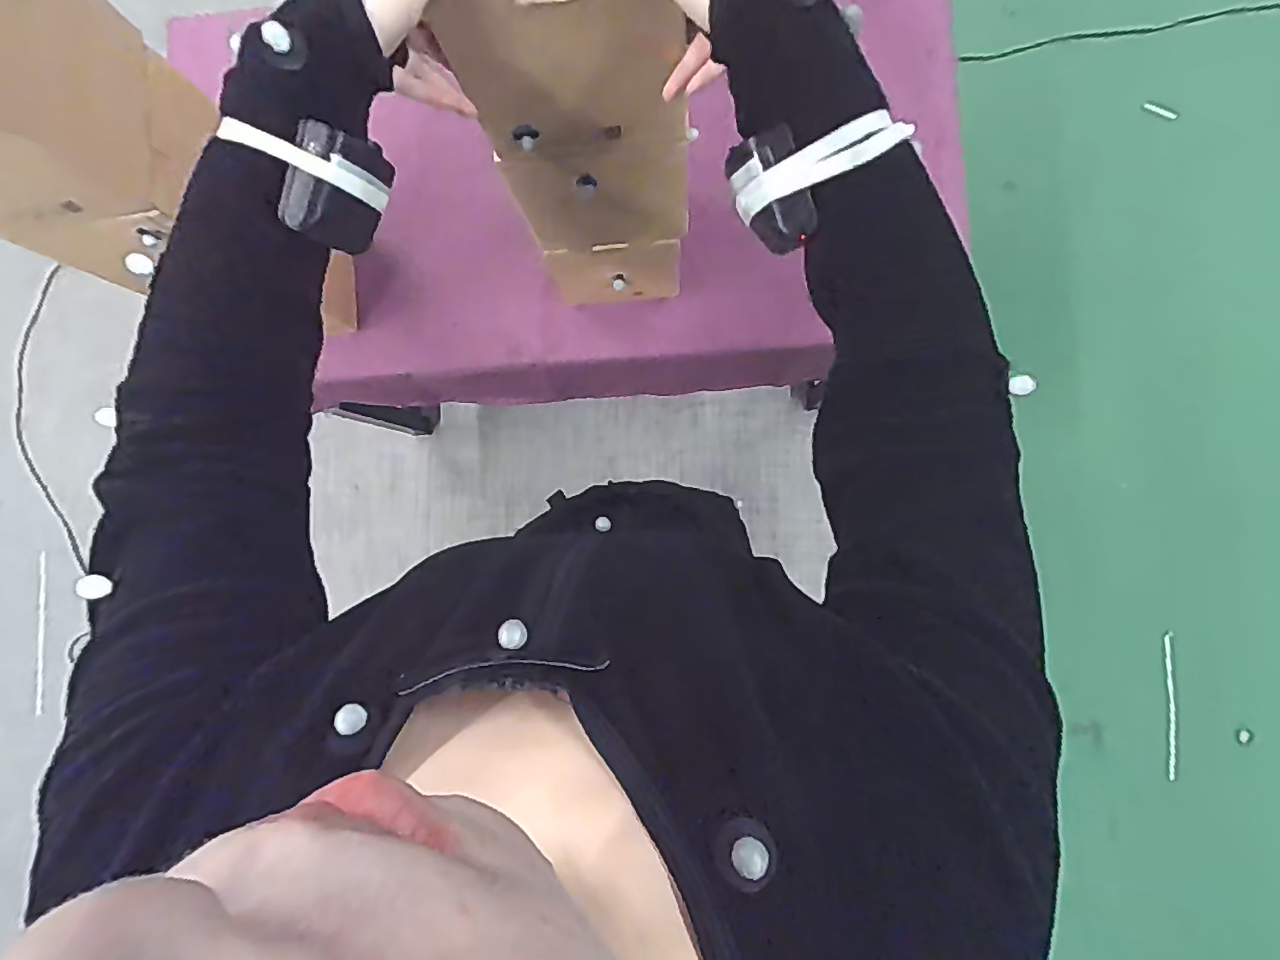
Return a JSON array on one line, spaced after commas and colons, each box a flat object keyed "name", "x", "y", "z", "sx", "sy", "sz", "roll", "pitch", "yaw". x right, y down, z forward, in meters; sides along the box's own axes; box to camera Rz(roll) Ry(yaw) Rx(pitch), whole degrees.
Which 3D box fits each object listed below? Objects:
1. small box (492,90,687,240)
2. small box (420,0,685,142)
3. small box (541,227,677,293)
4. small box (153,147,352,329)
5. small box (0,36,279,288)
[{"name": "small box", "x": -0.042, "y": -0.366, "z": 0.556, "sx": 0.179, "sy": 0.176, "sz": 0.168, "roll": -3, "pitch": 88, "yaw": 3}, {"name": "small box", "x": -0.052, "y": -0.377, "z": 0.392, "sx": 0.168, "sy": 0.176, "sz": 0.179, "roll": -3, "pitch": 86, "yaw": 3}, {"name": "small box", "x": -0.035, "y": -0.361, "z": 0.722, "sx": 0.168, "sy": 0.176, "sz": 0.179, "roll": -3, "pitch": 88, "yaw": 3}, {"name": "small box", "x": -0.523, "y": -0.317, "z": 0.748, "sx": 0.168, "sy": 0.176, "sz": 0.179, "roll": -4, "pitch": 87, "yaw": 2}, {"name": "small box", "x": -0.535, "y": -0.324, "z": 0.586, "sx": 0.179, "sy": 0.176, "sz": 0.168, "roll": -6, "pitch": 88, "yaw": 1}]
